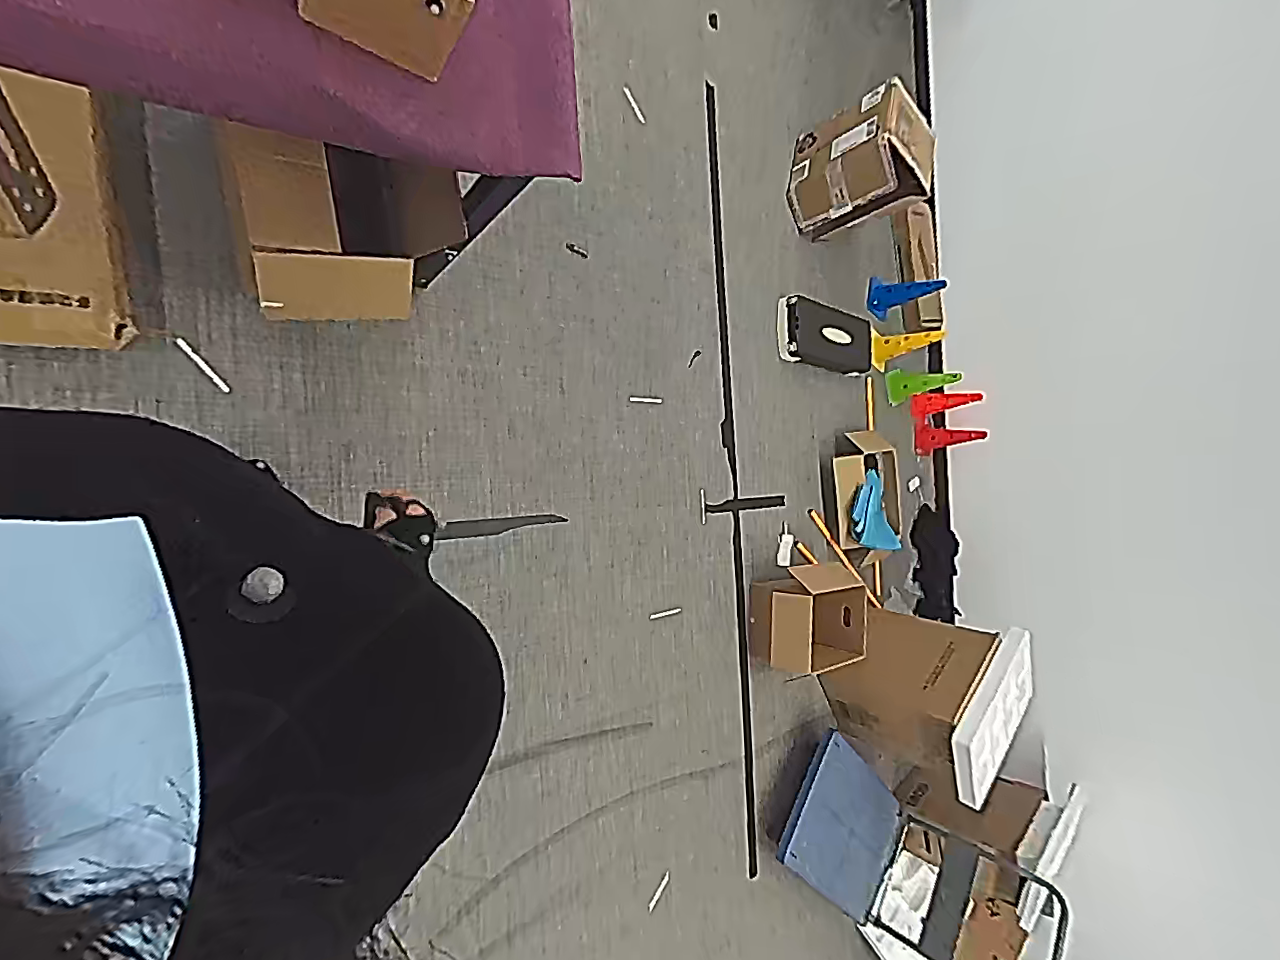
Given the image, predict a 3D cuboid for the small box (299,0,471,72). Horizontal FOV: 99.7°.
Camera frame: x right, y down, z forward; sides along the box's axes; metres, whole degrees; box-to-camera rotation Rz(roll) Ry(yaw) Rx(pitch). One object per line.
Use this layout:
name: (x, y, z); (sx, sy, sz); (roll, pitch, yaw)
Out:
small box: (-0.320, -0.673, 0.682); (0.179, 0.176, 0.168); (3, 87, -39)
